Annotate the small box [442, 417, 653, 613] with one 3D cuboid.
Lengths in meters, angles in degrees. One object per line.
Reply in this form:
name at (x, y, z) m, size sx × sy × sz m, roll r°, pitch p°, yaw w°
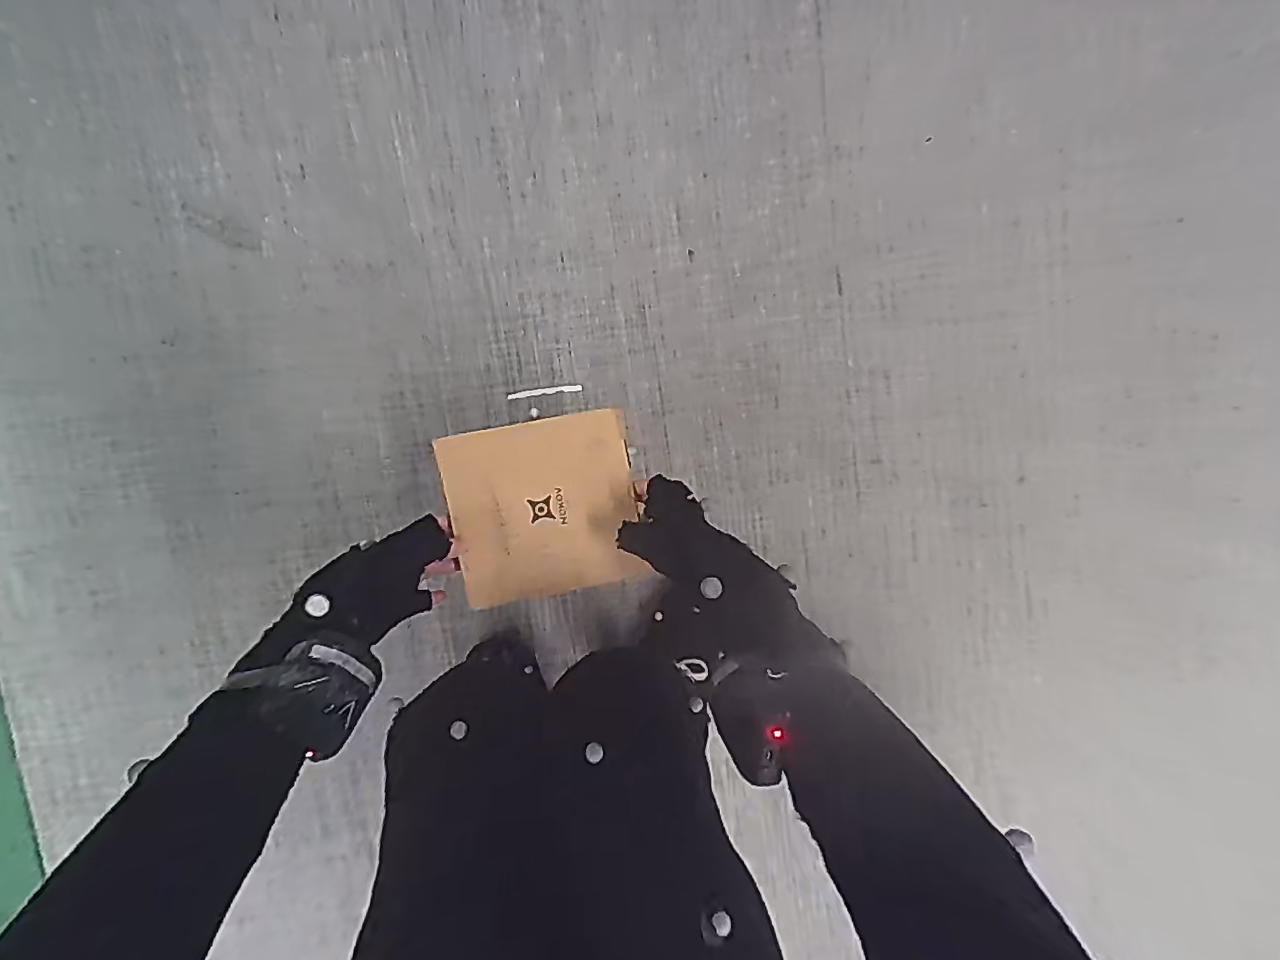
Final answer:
small box at (-0.095, 0.027, 0.597) m, size 0.179 × 0.176 × 0.168 m, roll -12°, pitch 95°, yaw -4°
